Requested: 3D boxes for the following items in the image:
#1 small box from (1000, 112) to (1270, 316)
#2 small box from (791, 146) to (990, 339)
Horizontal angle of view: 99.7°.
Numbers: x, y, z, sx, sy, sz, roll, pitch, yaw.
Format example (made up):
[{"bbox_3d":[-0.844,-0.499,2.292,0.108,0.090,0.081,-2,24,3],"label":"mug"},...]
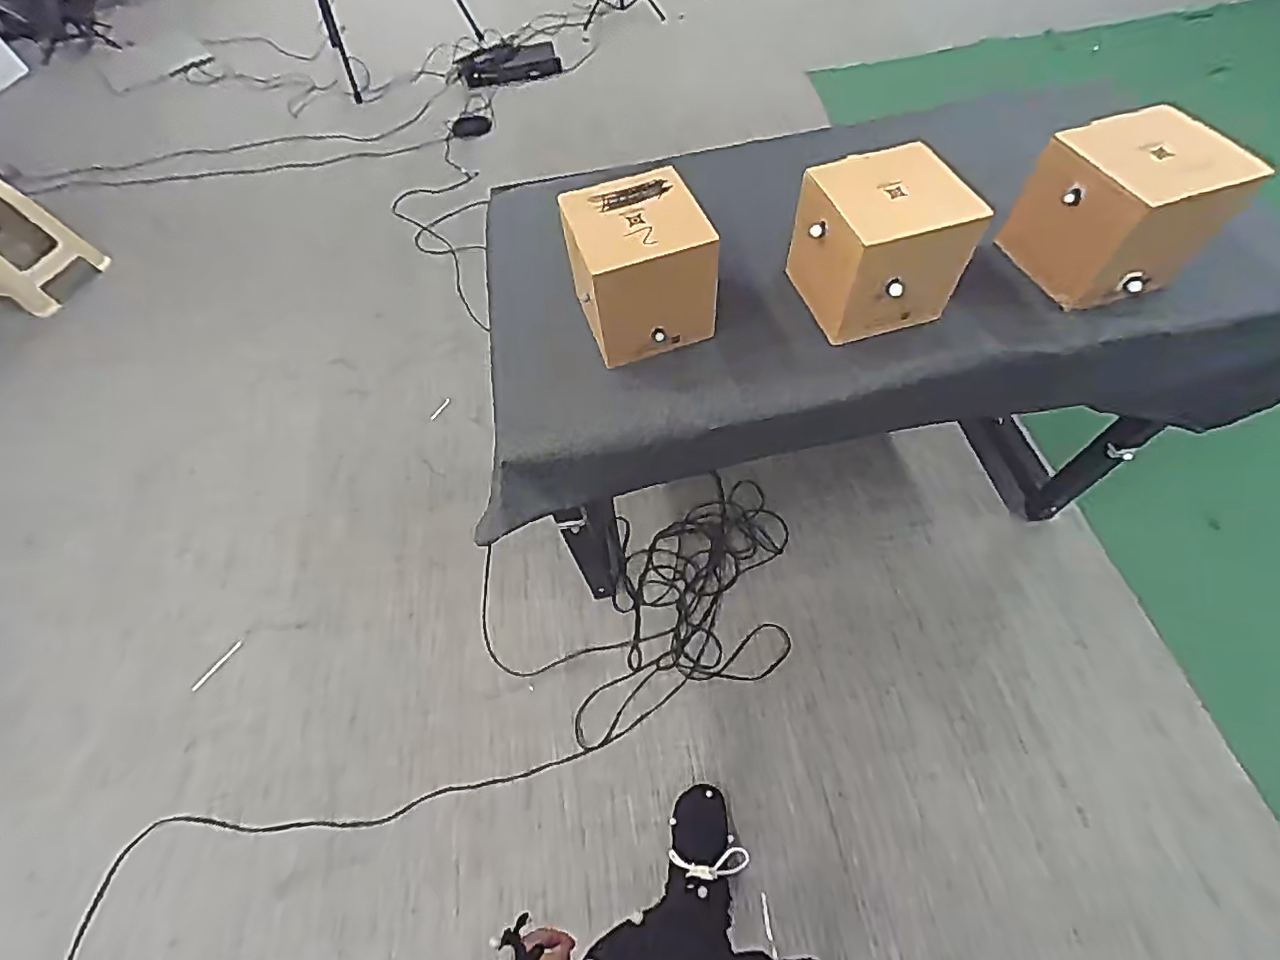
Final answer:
[{"bbox_3d":[0.648,-0.359,0.742,0.168,0.176,0.179,-17,60,-3],"label":"small box"},{"bbox_3d":[0.325,-0.316,0.745,0.168,0.176,0.179,-15,59,-4],"label":"small box"}]
